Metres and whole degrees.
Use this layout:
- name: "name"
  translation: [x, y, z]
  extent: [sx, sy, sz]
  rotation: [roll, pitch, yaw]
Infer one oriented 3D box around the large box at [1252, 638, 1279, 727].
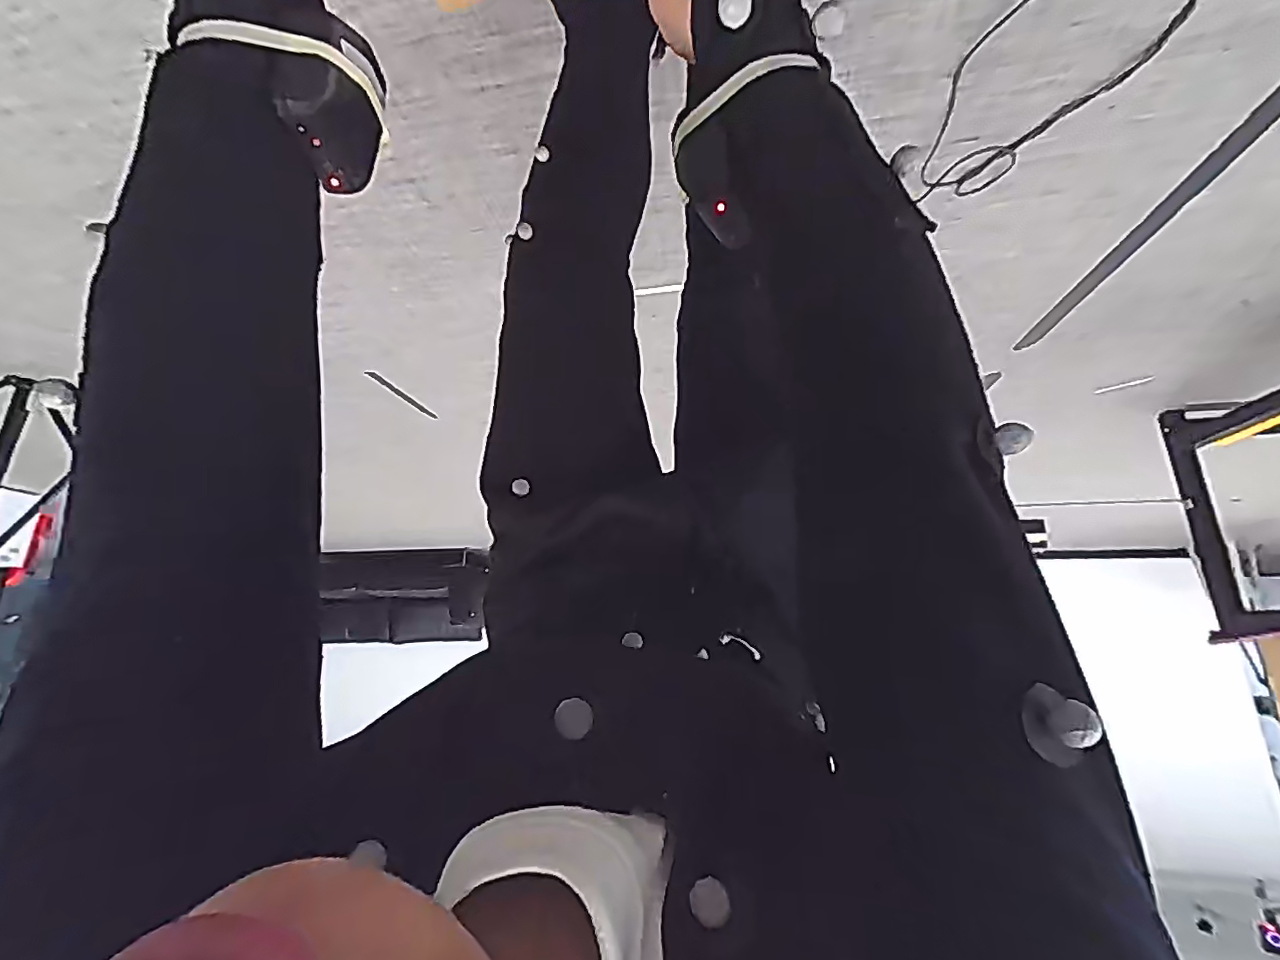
- name: "large box"
  translation: [1.979, 0.561, 1.389]
  extent: [0.408, 0.320, 0.320]
  rotation: [-4, 164, 9]
